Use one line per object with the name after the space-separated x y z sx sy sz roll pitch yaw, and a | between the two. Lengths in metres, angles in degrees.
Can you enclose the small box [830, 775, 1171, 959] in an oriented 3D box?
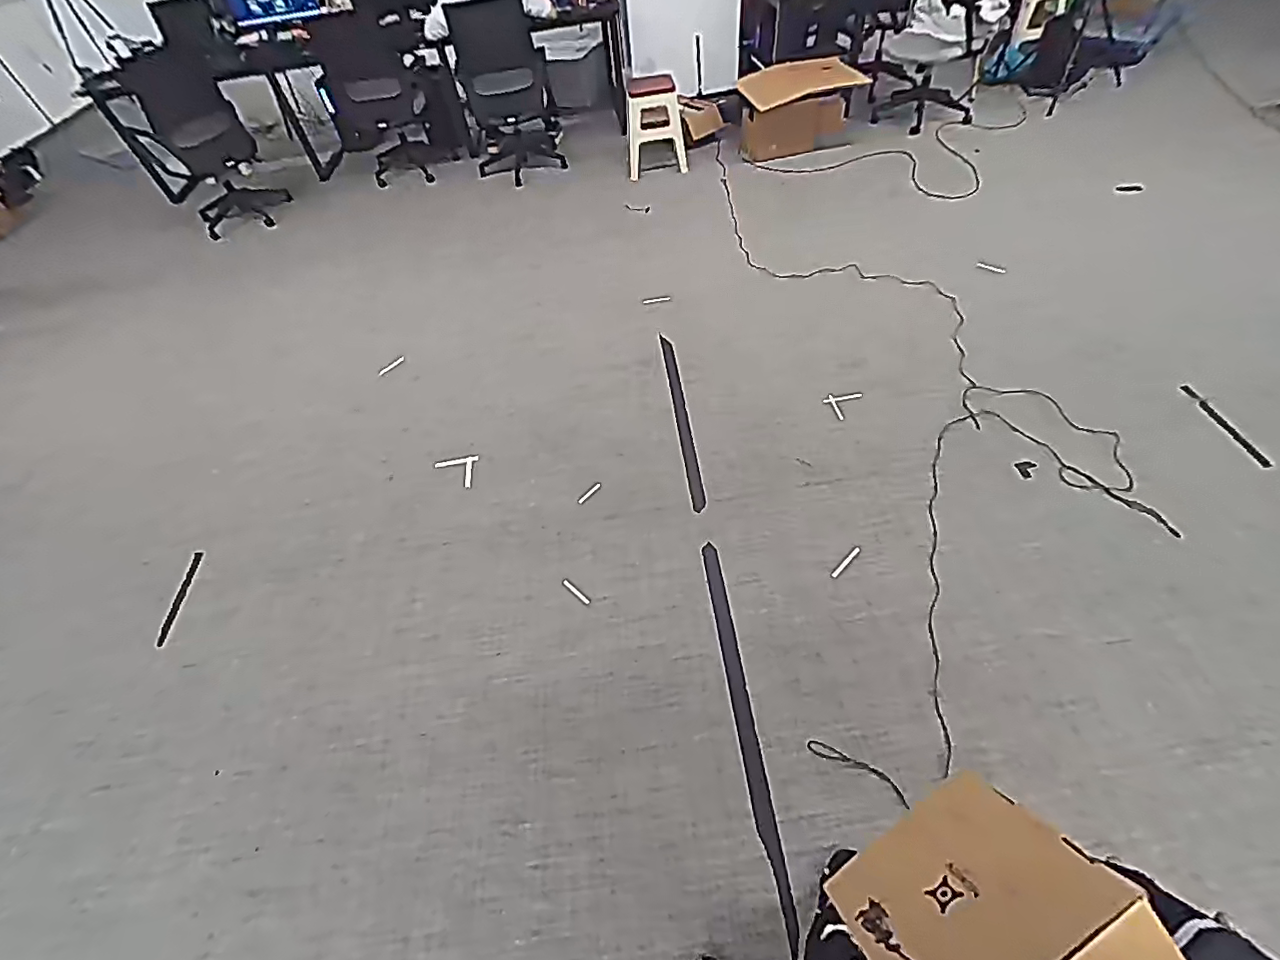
0.300 0.396 0.438 0.179 0.168 0.176 -34 91 -6 | small box
